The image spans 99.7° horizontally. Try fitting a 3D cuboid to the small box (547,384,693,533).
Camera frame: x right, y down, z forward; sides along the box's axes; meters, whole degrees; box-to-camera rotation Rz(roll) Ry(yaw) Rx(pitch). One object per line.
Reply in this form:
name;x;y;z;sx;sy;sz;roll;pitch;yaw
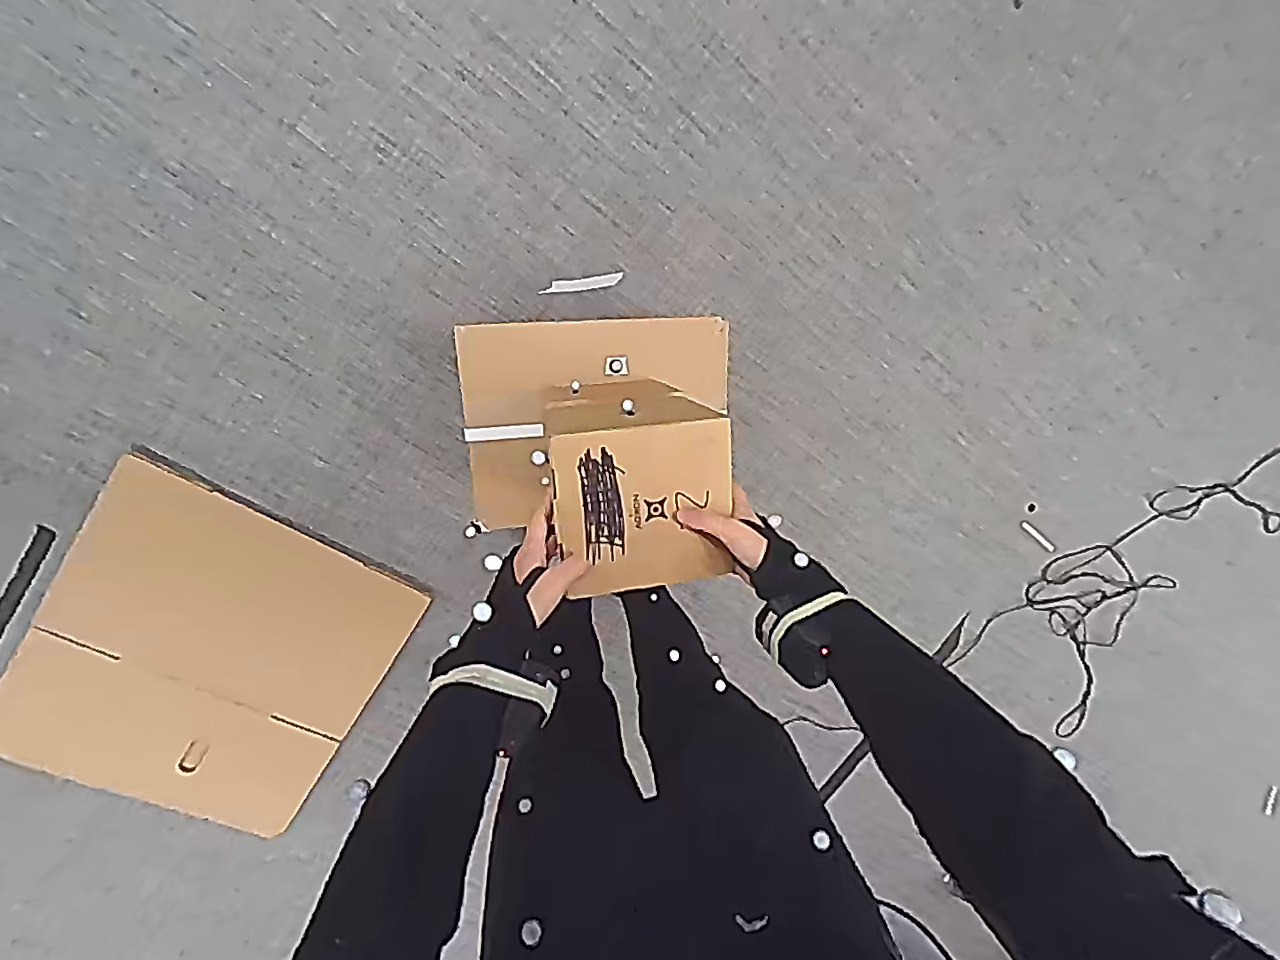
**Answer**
small box;-0.035;-0.039;0.758;0.179;0.176;0.168;-8;107;-10
